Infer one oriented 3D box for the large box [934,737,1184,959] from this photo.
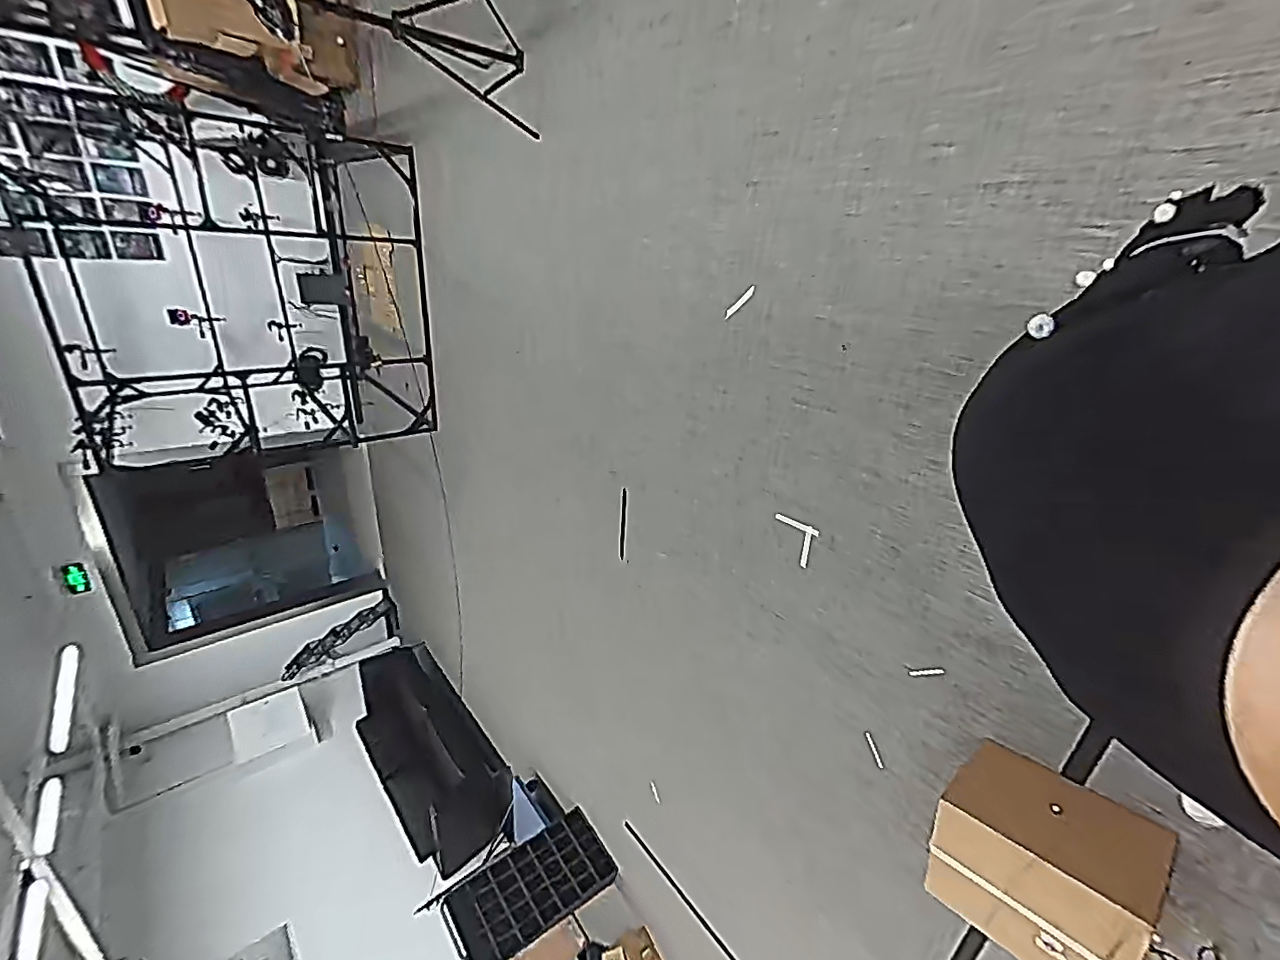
[{"bbox_3d":[1.006,0.924,1.326,0.408,0.320,0.320,17,115,47],"label":"large box"}]
